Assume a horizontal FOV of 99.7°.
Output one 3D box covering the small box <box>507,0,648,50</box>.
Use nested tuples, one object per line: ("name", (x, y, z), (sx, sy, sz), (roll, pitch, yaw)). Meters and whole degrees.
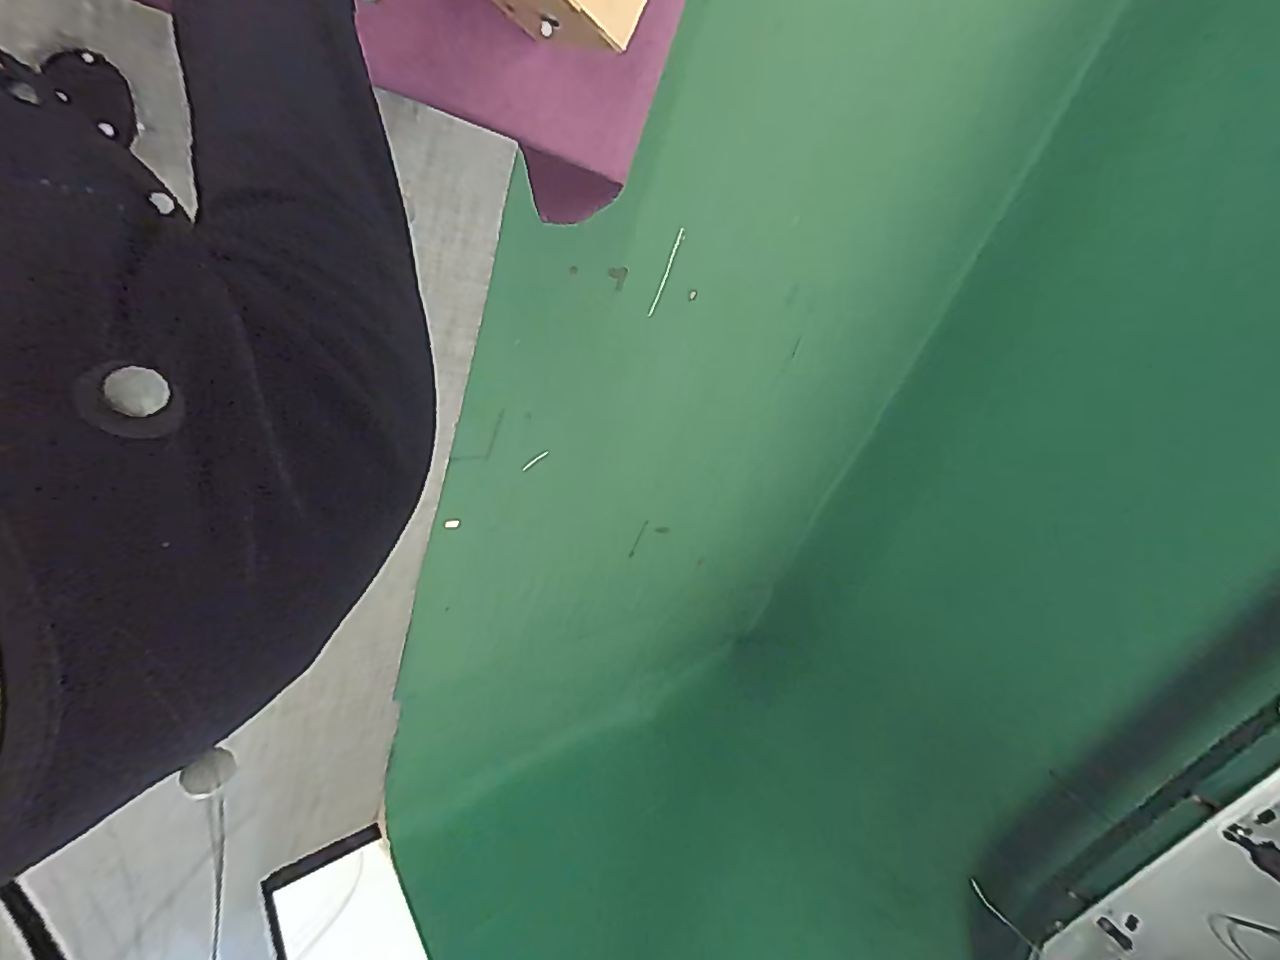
("small box", (-0.076, -0.557, 0.510), (0.168, 0.176, 0.179), (9, 116, -50))
